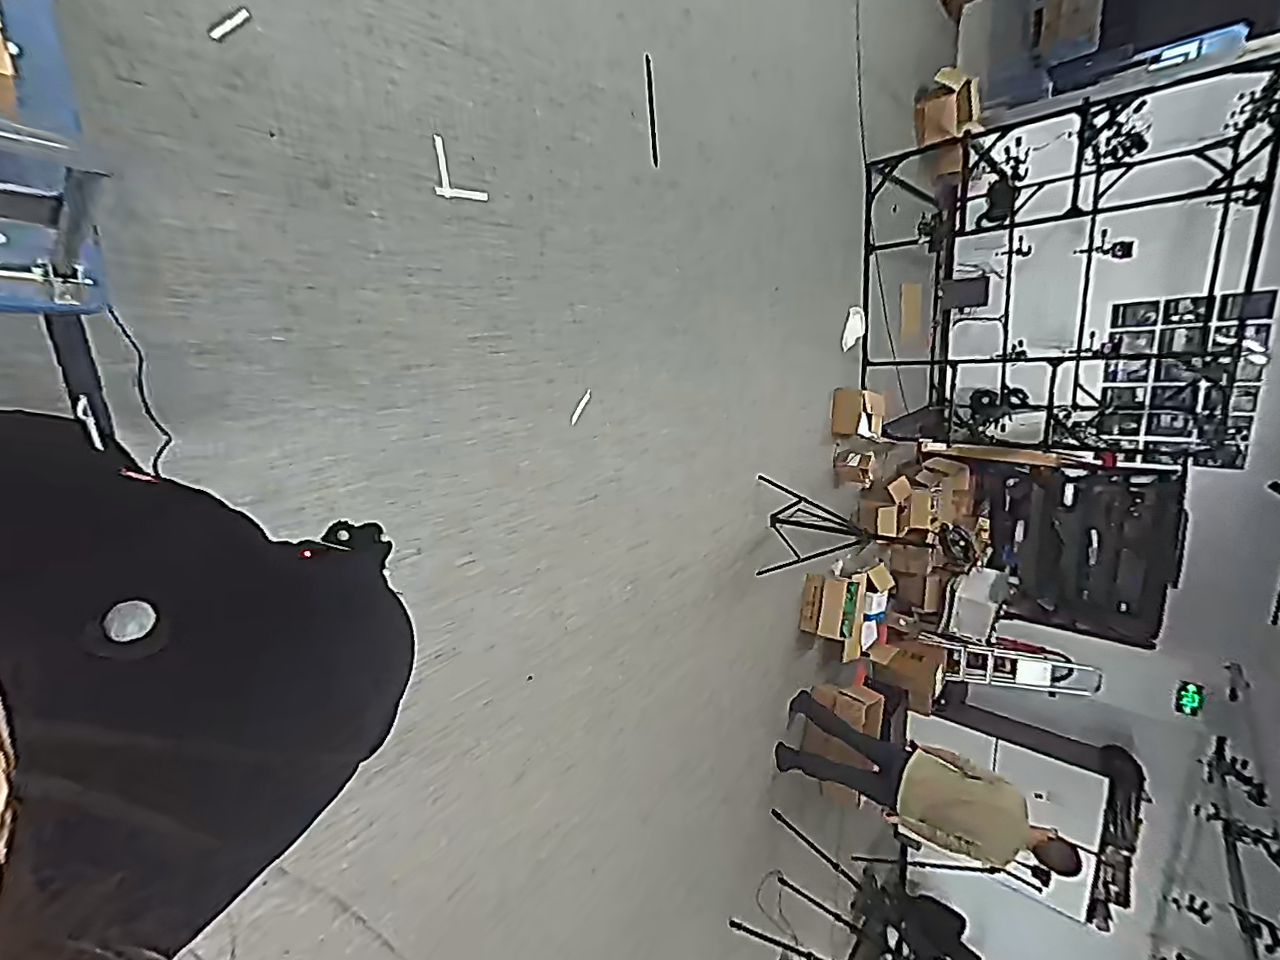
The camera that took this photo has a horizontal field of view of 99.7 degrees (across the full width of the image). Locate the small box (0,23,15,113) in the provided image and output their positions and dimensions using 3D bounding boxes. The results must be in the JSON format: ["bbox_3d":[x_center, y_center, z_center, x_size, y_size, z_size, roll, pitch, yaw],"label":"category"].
[{"bbox_3d":[-0.978,-0.621,0.714,0.179,0.176,0.168,-16,108,-47],"label":"small box"}]
